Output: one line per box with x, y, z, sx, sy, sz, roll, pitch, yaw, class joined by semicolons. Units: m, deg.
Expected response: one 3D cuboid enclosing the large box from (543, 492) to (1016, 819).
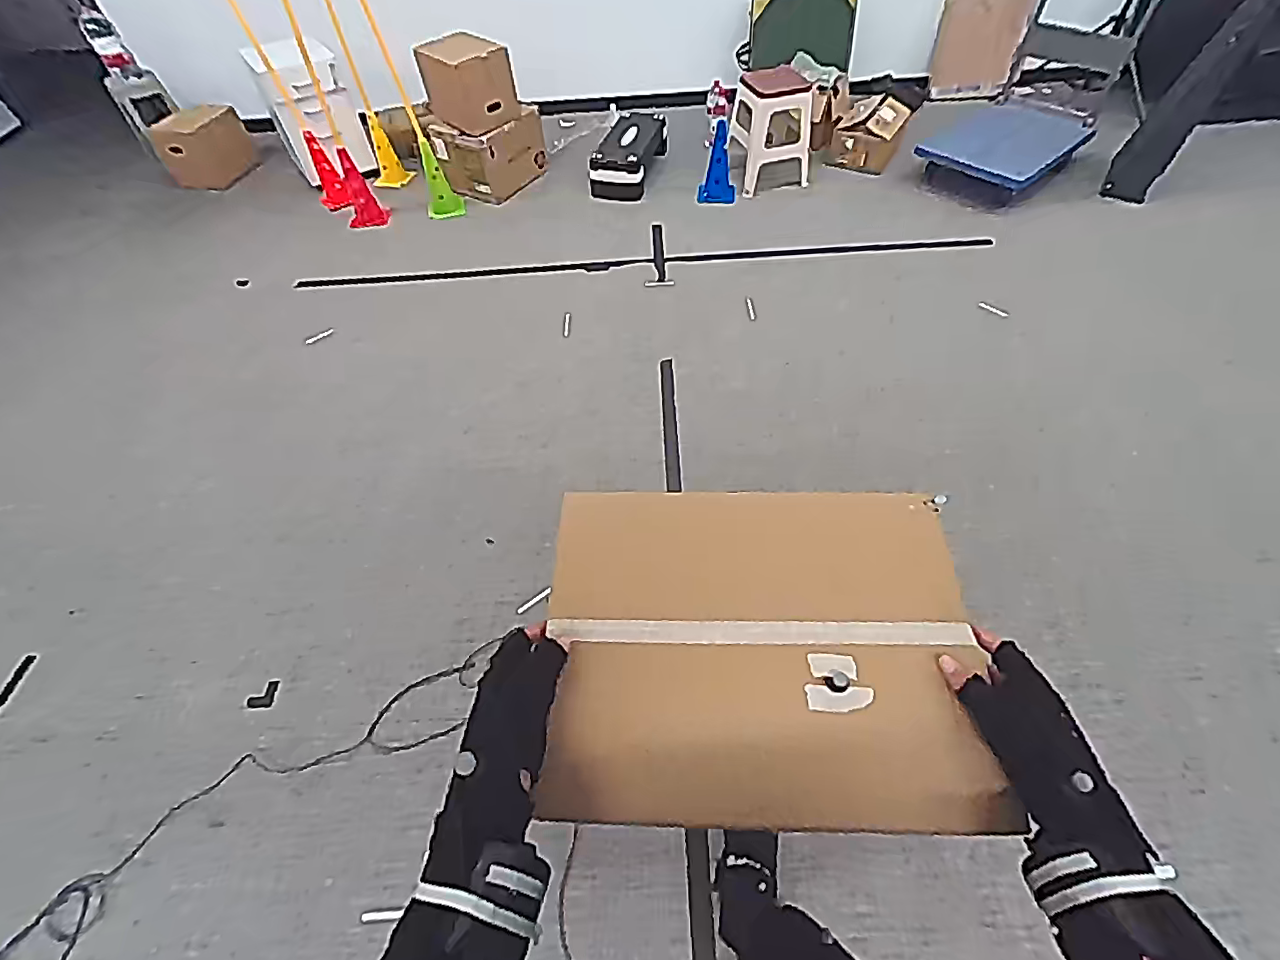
0.118;0.225;0.654;0.408;0.320;0.320;0;58;2;large box
